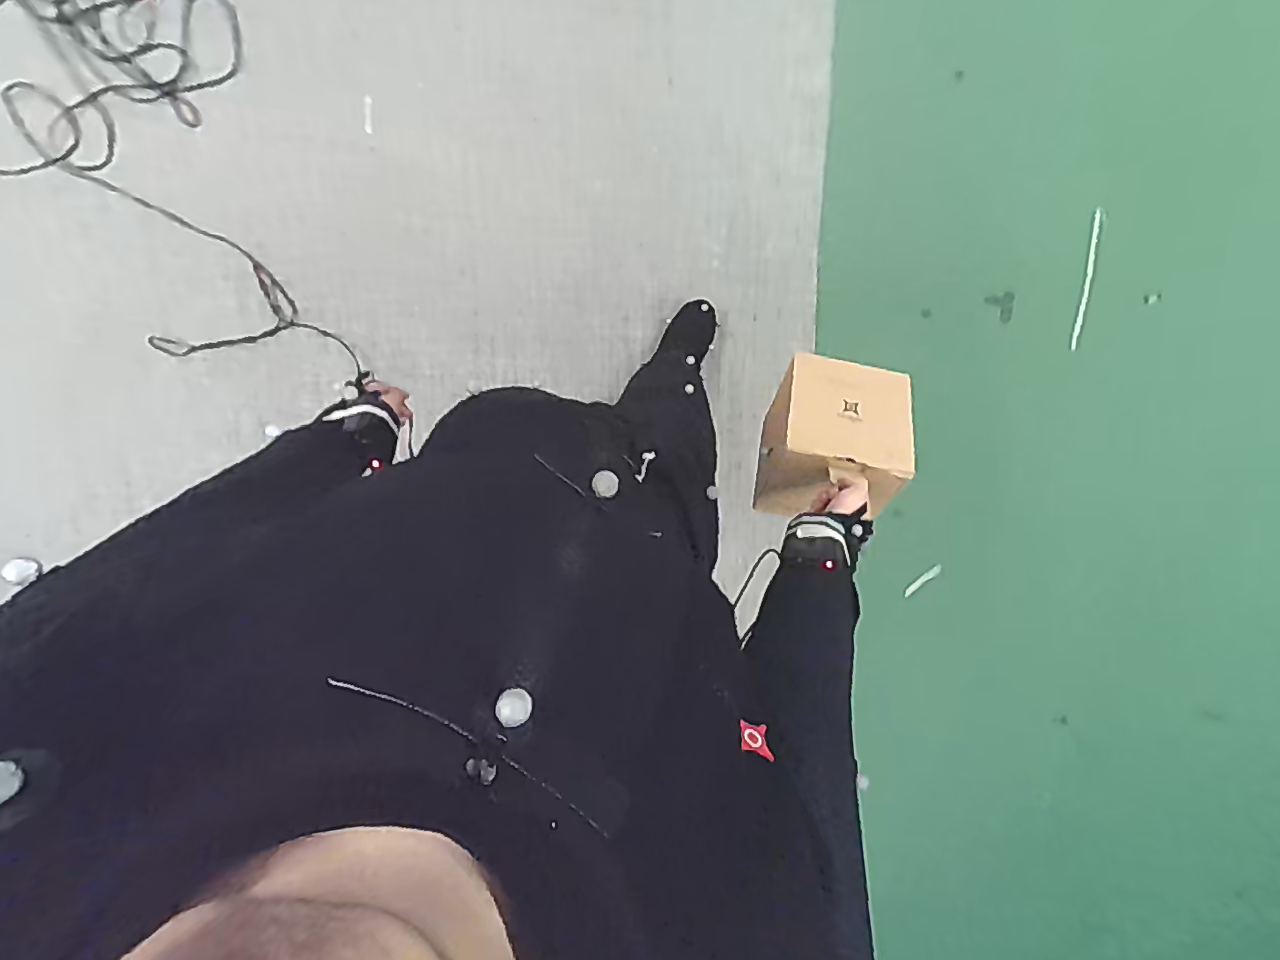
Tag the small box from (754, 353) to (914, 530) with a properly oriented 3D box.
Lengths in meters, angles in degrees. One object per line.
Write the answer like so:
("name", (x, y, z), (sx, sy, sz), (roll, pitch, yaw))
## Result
("small box", (0.269, -0.048, 0.780), (0.168, 0.179, 0.176), (12, 148, 1))
